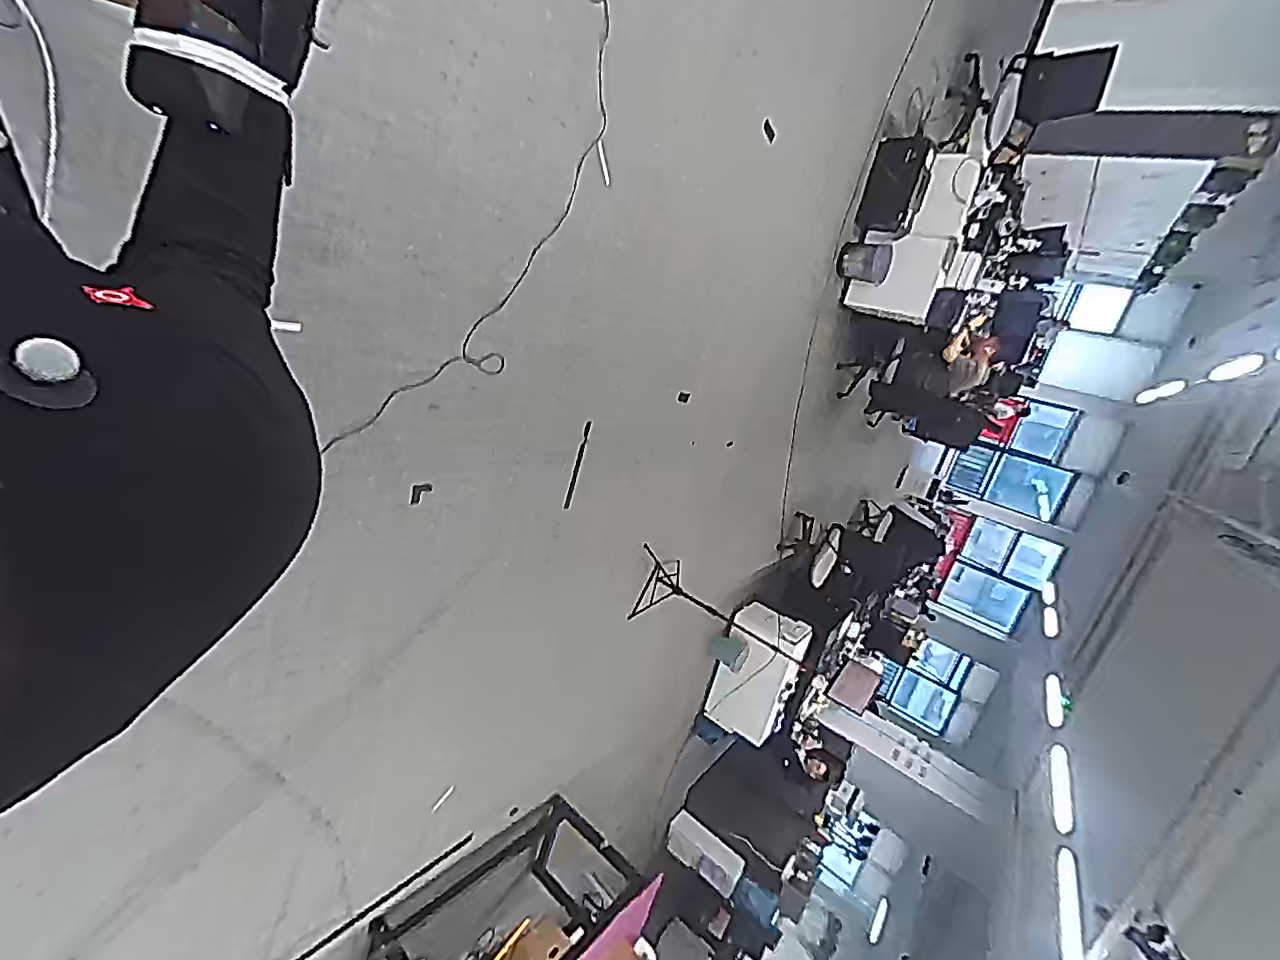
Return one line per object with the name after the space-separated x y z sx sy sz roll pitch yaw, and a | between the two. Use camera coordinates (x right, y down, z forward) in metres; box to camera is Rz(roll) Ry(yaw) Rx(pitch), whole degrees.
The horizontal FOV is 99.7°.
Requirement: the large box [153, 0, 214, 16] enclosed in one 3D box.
-0.448 -0.506 0.219 0.408 0.320 0.320 -4 124 -59 | large box
